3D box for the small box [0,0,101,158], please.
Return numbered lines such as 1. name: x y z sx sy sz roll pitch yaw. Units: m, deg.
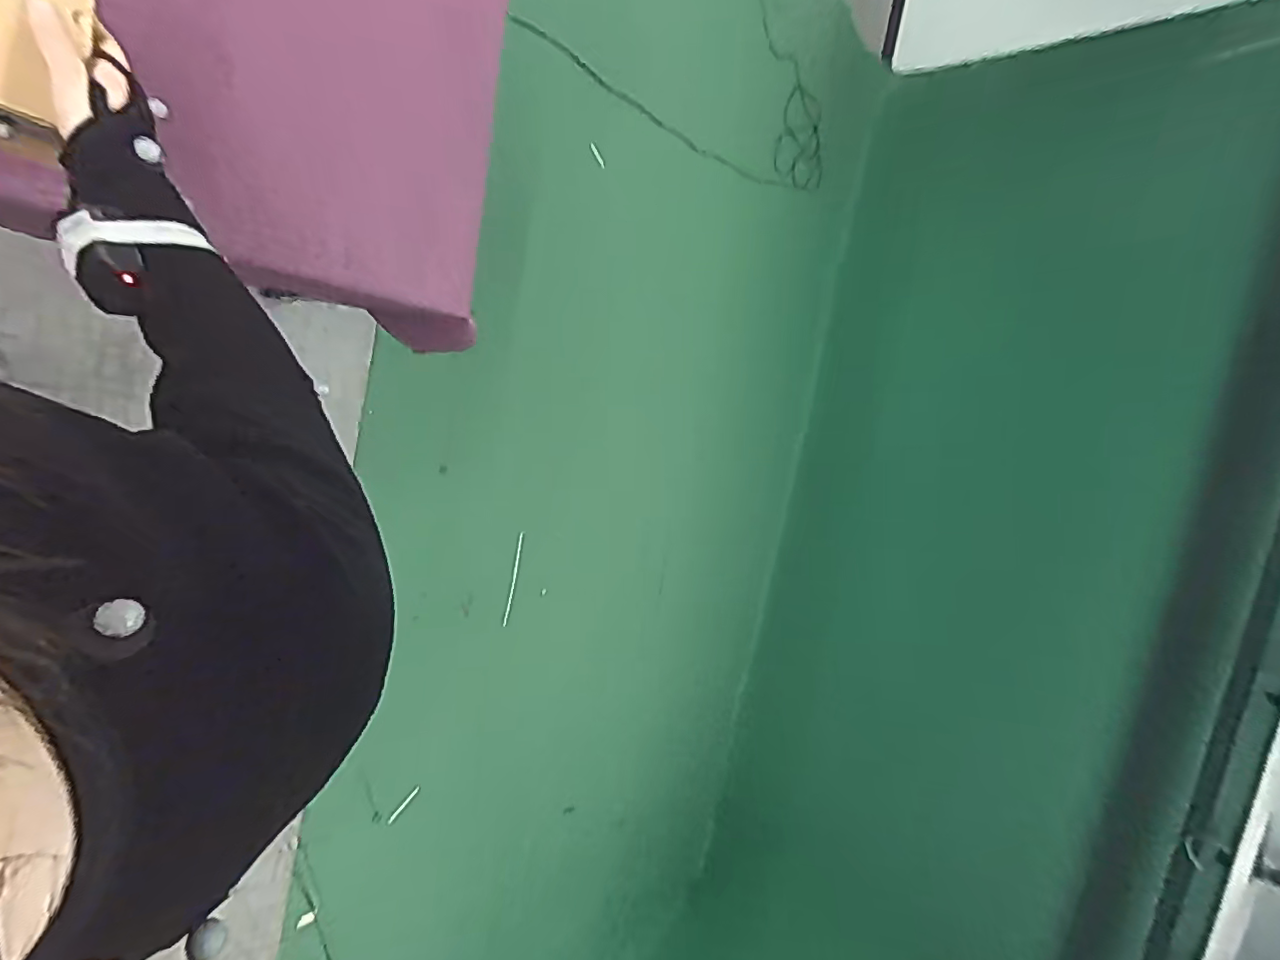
1. small box: -0.527 -0.362 0.392 0.179 0.176 0.168 2 101 -53
